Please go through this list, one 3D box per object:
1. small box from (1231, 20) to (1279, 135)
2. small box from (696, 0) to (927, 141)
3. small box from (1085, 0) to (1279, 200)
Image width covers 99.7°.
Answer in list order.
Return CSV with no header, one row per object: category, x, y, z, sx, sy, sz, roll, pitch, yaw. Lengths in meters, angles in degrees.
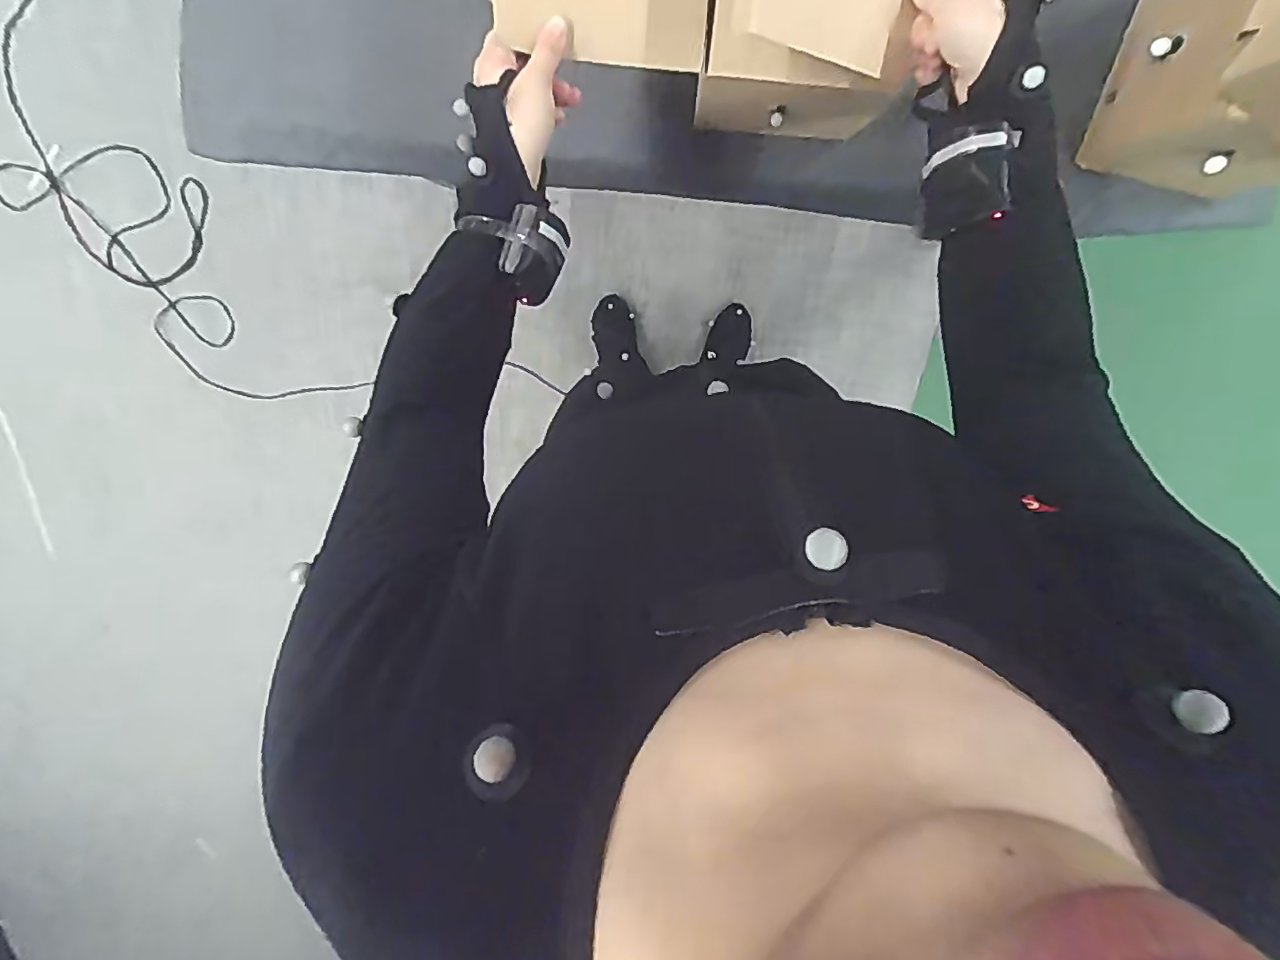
small box,0.576,-0.312,0.351,0.179,0.176,0.168,32,105,-9
small box,0.149,-0.430,0.500,0.179,0.176,0.168,6,110,3
small box,0.580,-0.377,0.501,0.179,0.176,0.168,12,107,-1
